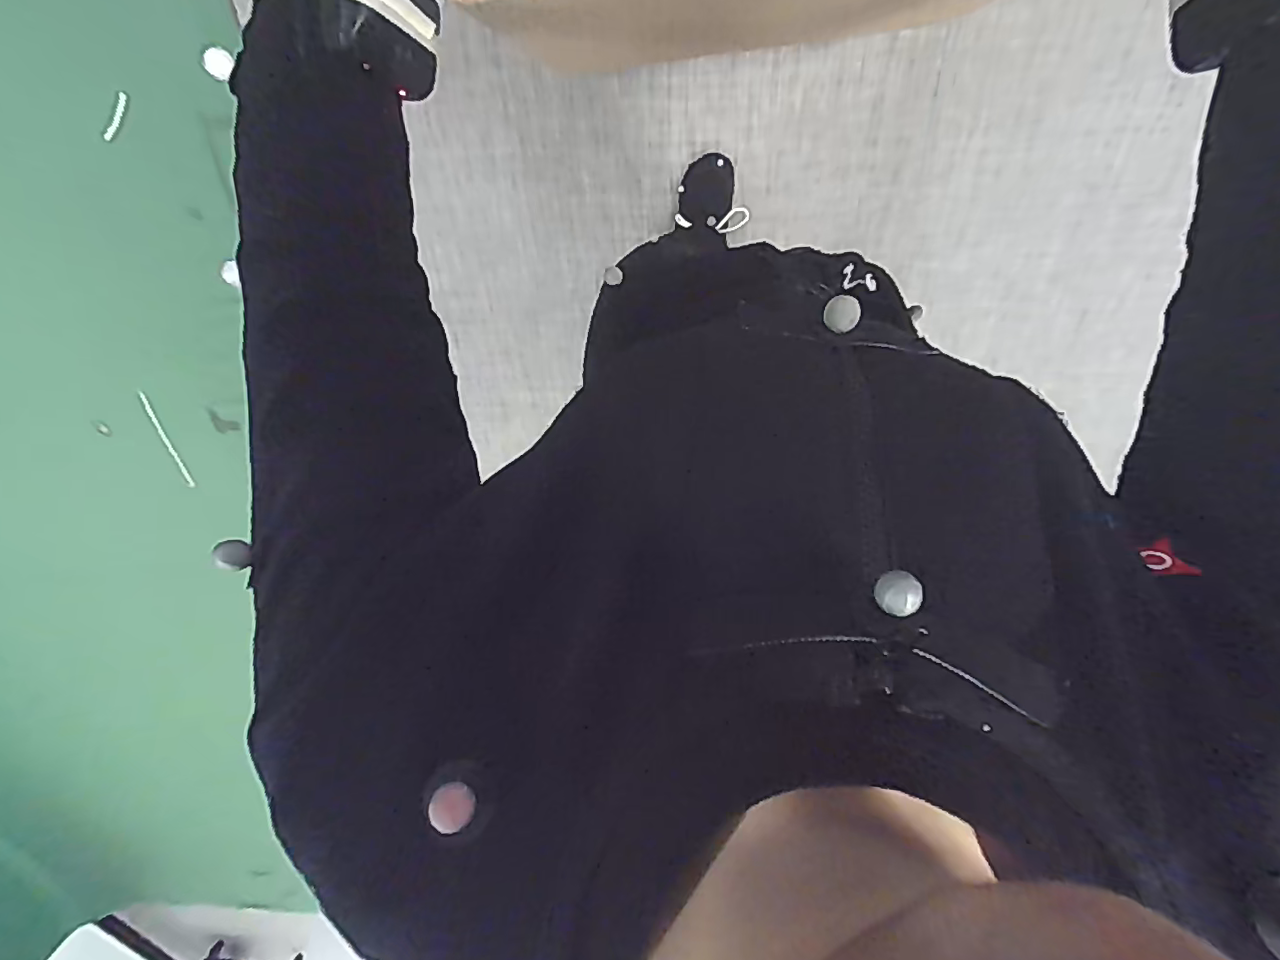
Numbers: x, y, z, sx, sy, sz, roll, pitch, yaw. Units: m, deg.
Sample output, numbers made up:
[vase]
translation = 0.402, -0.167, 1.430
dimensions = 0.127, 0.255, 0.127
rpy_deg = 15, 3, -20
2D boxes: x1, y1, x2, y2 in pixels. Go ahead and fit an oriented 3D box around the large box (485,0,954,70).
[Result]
[large box]
translation = 0.083, -0.501, 0.344
dimensions = 0.408, 0.320, 0.320
rpy_deg = -4, 121, 5
